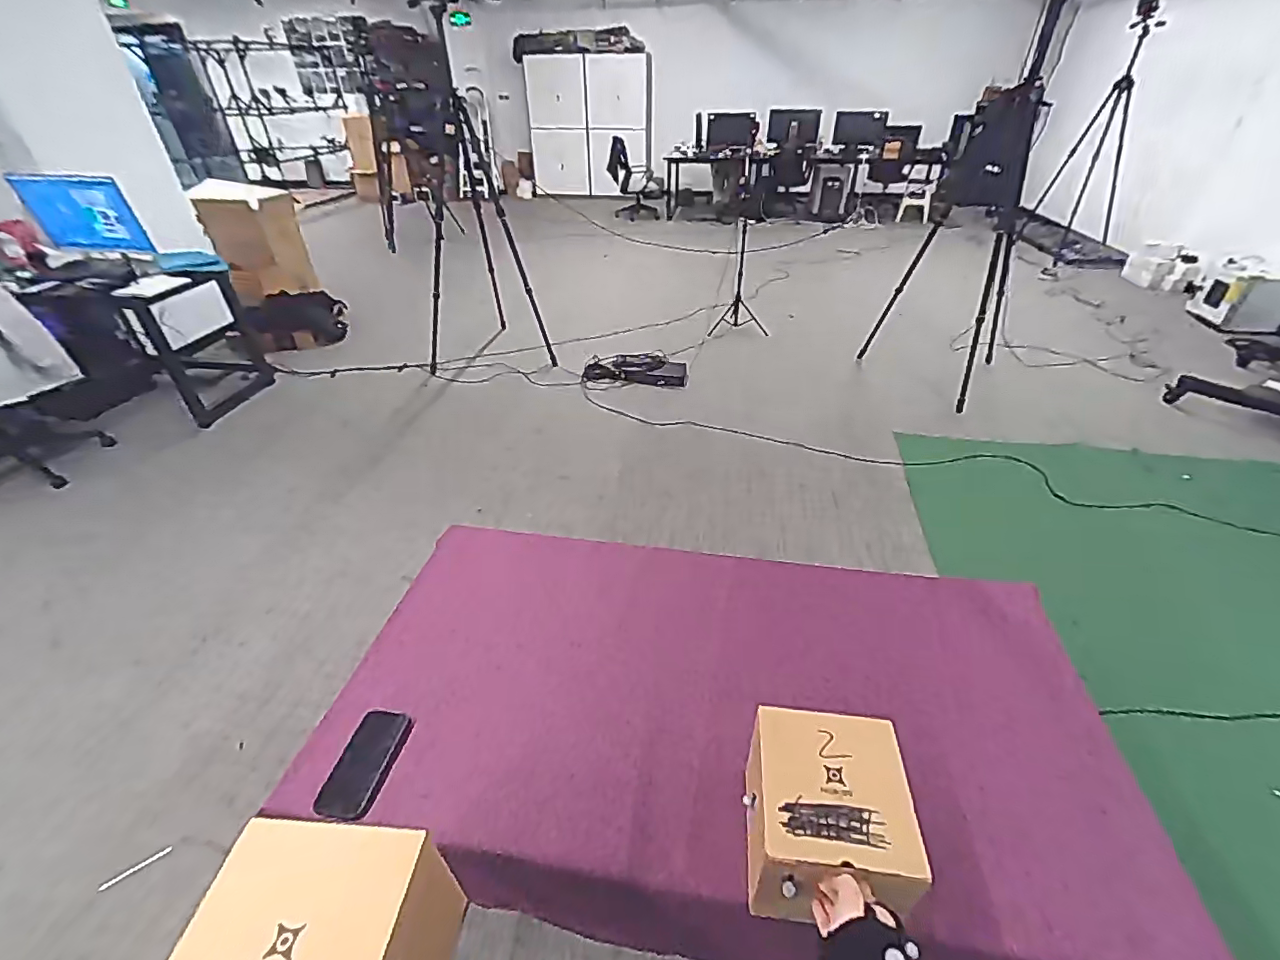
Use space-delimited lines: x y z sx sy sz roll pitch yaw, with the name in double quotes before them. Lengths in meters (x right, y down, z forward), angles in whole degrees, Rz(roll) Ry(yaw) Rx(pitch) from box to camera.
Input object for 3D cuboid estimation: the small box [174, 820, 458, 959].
"small box" -0.269 0.424 0.457 0.168 0.176 0.179 2 37 4
